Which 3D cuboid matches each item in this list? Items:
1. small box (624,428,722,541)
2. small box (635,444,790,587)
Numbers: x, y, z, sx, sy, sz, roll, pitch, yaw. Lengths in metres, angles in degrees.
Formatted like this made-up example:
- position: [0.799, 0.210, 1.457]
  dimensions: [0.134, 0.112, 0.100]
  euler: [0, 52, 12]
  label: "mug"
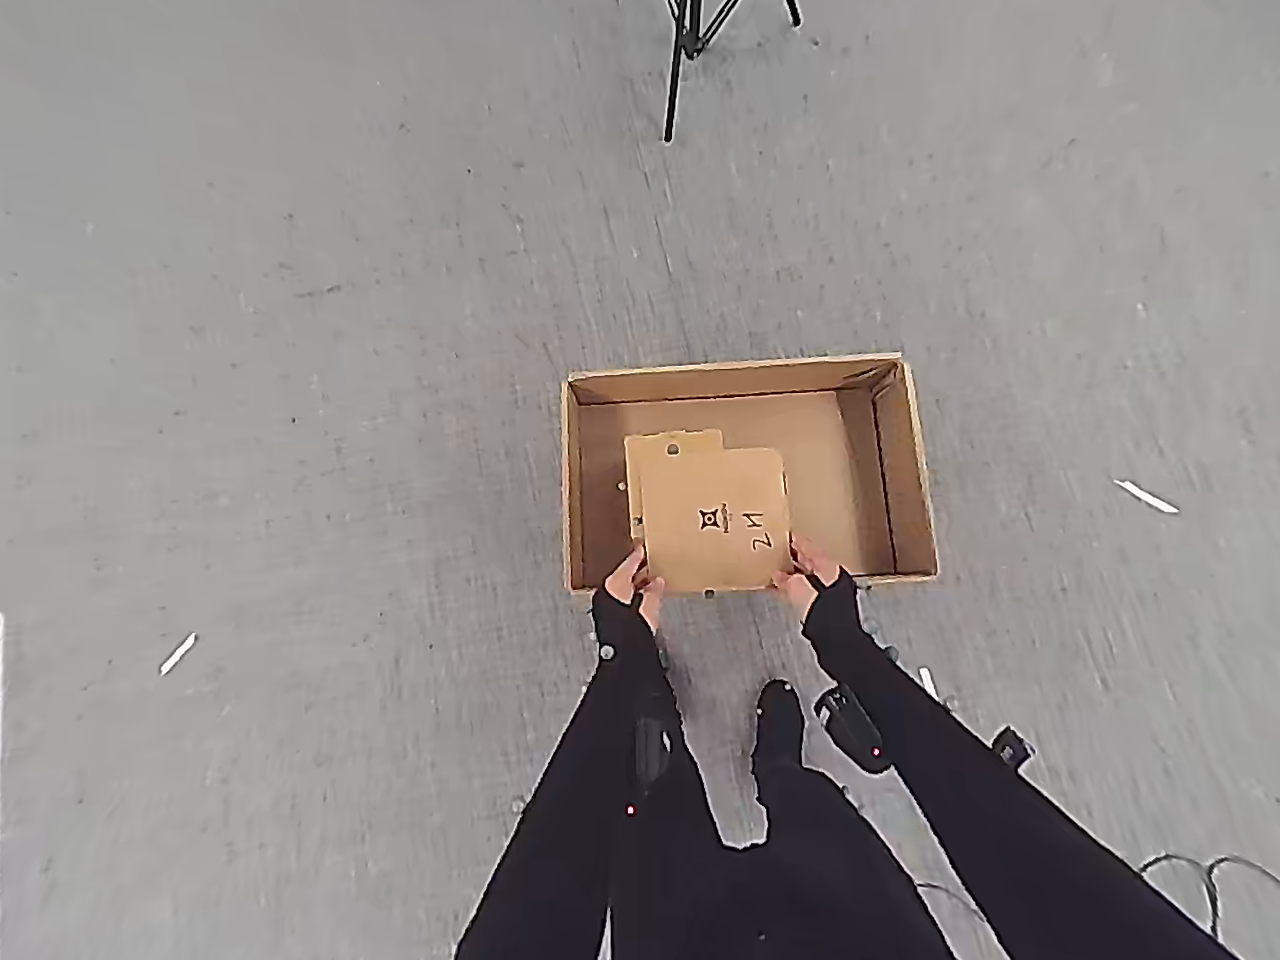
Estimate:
- position: [0.063, 0.019, 0.964]
  dimensions: [0.168, 0.176, 0.179]
  euler: [-5, 78, 1]
  label: "small box"
- position: [0.086, 0.050, 0.716]
  dimensions: [0.179, 0.176, 0.168]
  euler: [-4, 85, -1]
  label: "small box"
